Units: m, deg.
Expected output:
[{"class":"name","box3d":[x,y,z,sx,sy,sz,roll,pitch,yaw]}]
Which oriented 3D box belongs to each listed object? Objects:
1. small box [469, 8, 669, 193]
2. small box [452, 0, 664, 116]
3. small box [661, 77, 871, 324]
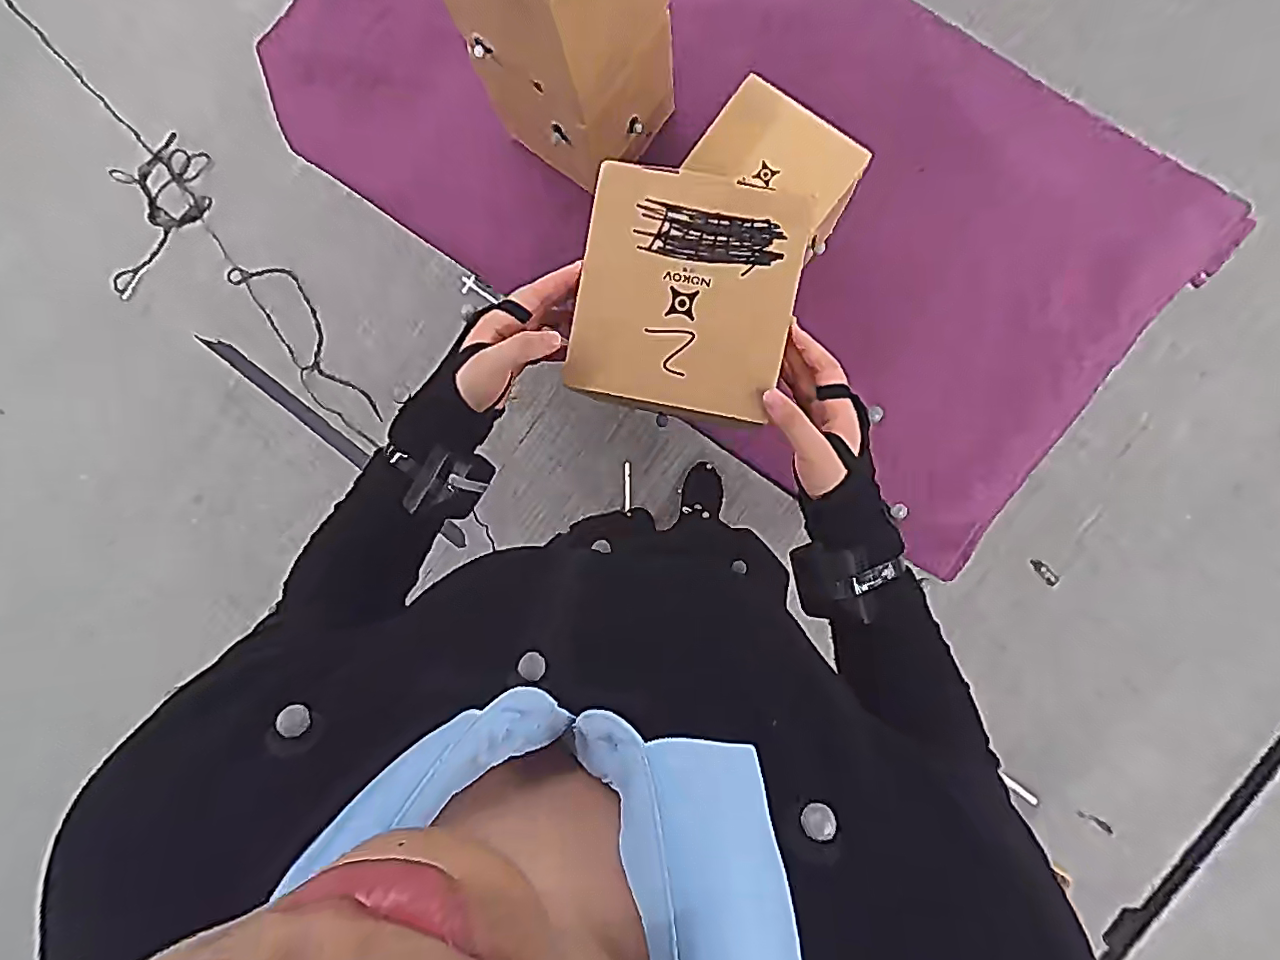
[{"class":"small box","box3d":[-0.075,-0.507,0.691,0.179,0.176,0.168,37,93,4]},{"class":"small box","box3d":[-0.085,-0.513,0.527,0.168,0.176,0.179,36,92,4]},{"class":"small box","box3d":[0.142,-0.327,0.671,0.168,0.176,0.179,37,93,4]}]
